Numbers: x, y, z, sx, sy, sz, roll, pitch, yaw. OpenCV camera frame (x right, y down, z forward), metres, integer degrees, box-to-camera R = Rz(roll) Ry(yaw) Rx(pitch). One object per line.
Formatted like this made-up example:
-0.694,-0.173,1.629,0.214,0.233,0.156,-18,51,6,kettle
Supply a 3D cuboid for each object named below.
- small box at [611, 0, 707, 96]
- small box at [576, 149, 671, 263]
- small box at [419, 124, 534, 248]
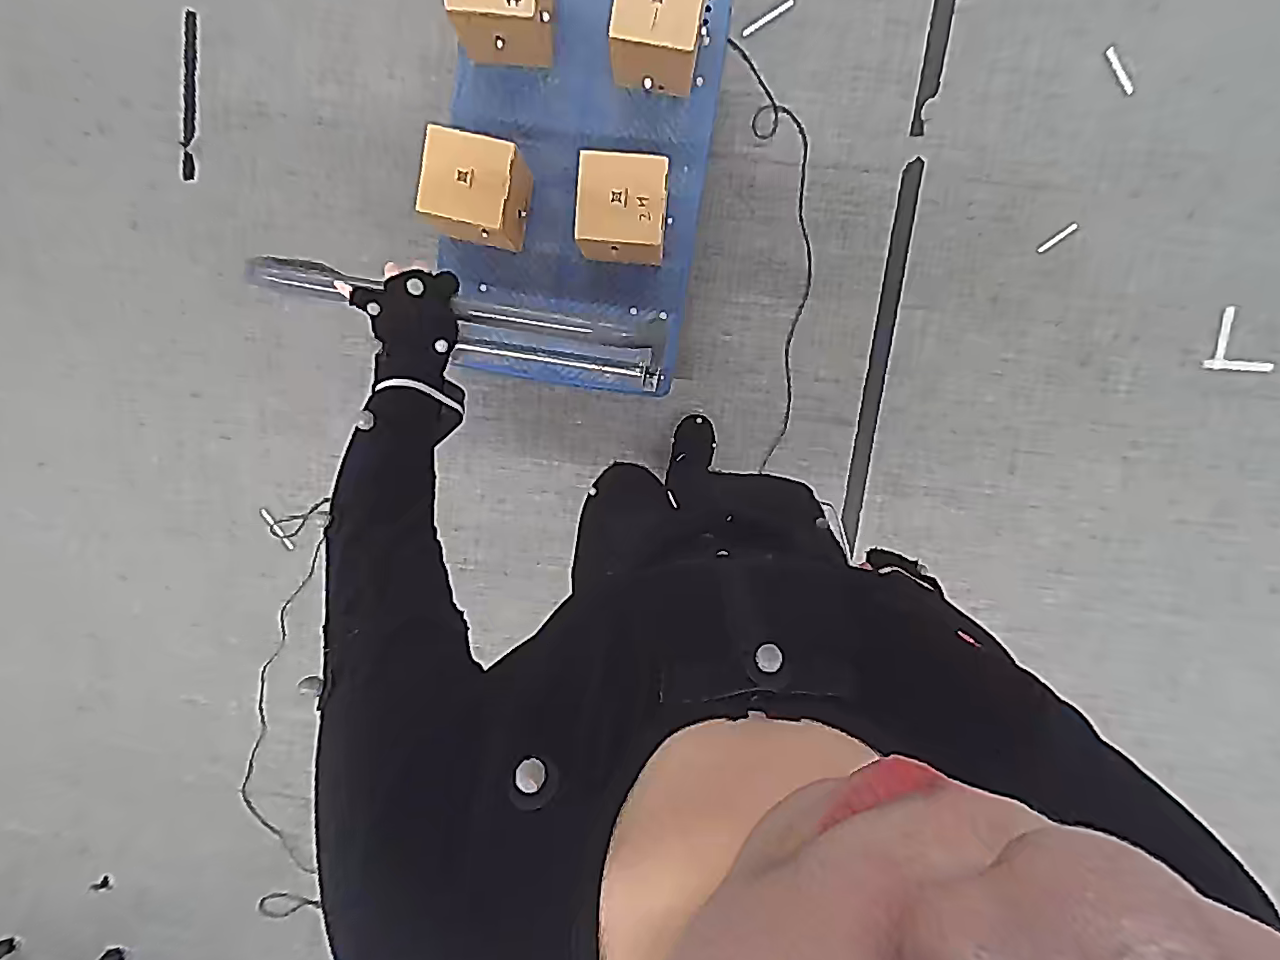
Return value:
0.042,-0.916,1.078,0.168,0.176,0.179,11,100,1,small box
-0.031,-0.564,1.134,0.179,0.176,0.168,5,99,1,small box
-0.337,-0.606,1.138,0.179,0.176,0.168,12,98,-1,small box
